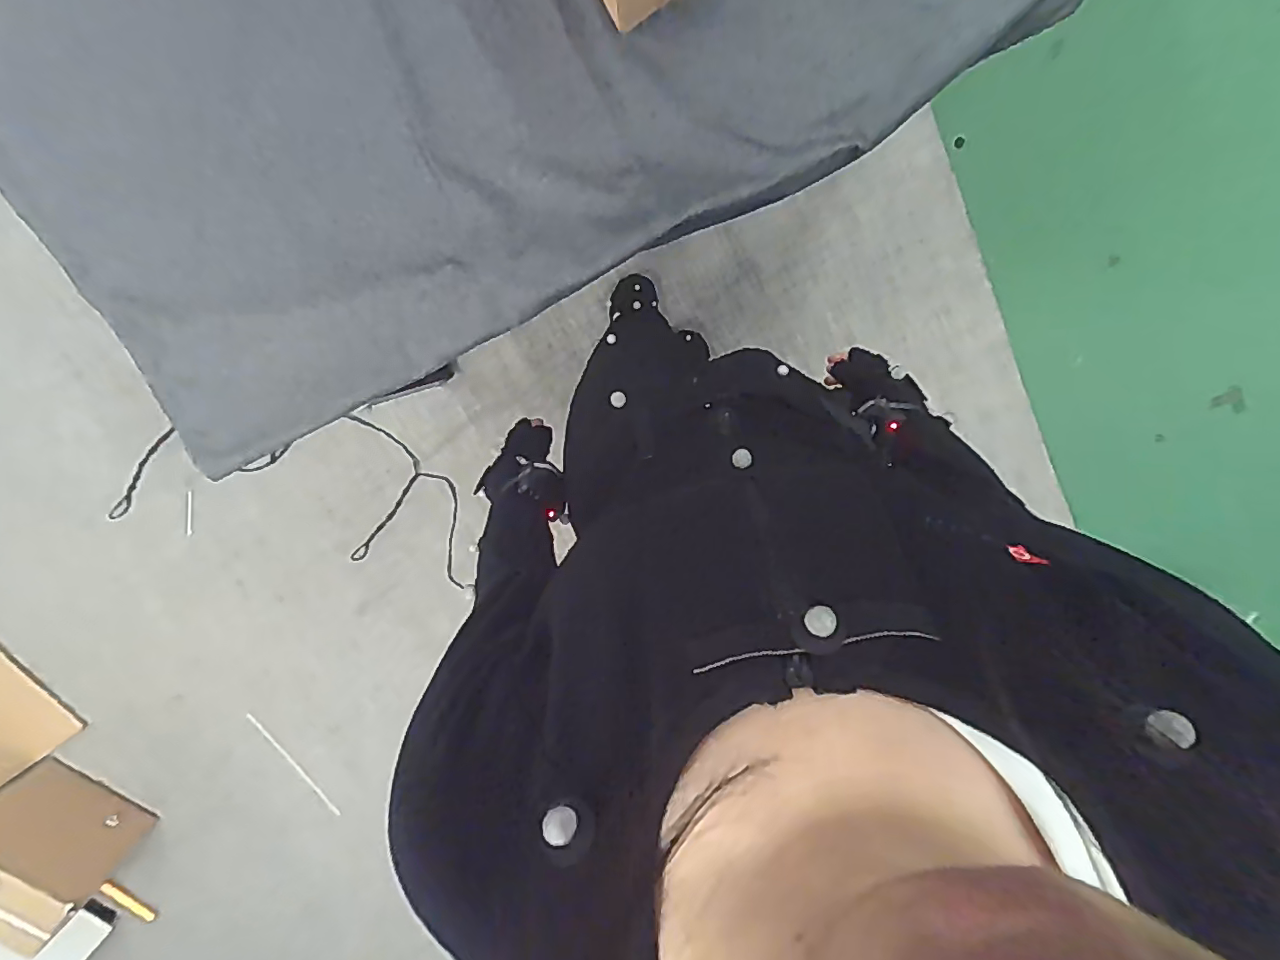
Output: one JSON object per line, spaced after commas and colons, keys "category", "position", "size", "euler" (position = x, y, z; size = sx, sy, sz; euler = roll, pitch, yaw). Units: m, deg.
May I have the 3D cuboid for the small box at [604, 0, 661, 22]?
{"category": "small box", "position": [0.000, -0.581, 0.484], "size": [0.168, 0.176, 0.179], "euler": [-30, 103, 10]}
